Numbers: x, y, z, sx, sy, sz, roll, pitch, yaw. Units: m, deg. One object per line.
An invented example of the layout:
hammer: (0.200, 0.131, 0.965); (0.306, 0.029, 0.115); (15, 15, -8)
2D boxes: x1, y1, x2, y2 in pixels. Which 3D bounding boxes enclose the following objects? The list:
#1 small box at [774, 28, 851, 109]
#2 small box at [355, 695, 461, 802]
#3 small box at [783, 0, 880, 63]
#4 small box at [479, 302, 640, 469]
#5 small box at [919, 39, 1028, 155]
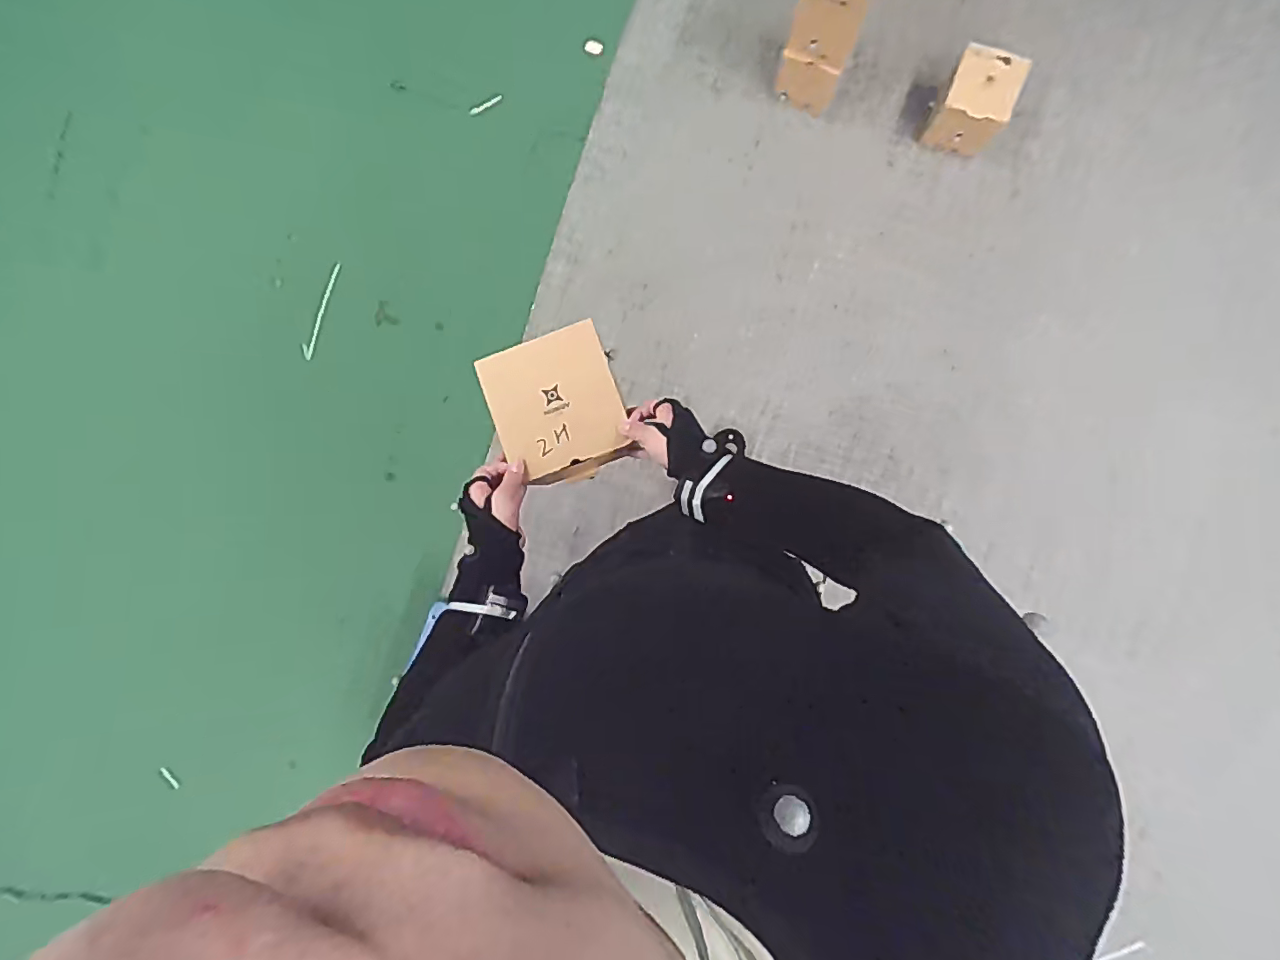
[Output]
small box: (0.483, -1.182, 1.496); (0.168, 0.176, 0.179); (24, 91, 3)
small box: (-0.599, 0.695, 1.422); (0.179, 0.176, 0.168); (21, 91, 3)
small box: (0.476, -1.198, 1.341); (0.168, 0.176, 0.179); (-34, 88, 6)
small box: (-0.103, -0.121, 0.766); (0.168, 0.176, 0.179); (-18, 90, 2)
small box: (0.891, -1.027, 1.466); (0.168, 0.176, 0.179); (22, 93, 4)
